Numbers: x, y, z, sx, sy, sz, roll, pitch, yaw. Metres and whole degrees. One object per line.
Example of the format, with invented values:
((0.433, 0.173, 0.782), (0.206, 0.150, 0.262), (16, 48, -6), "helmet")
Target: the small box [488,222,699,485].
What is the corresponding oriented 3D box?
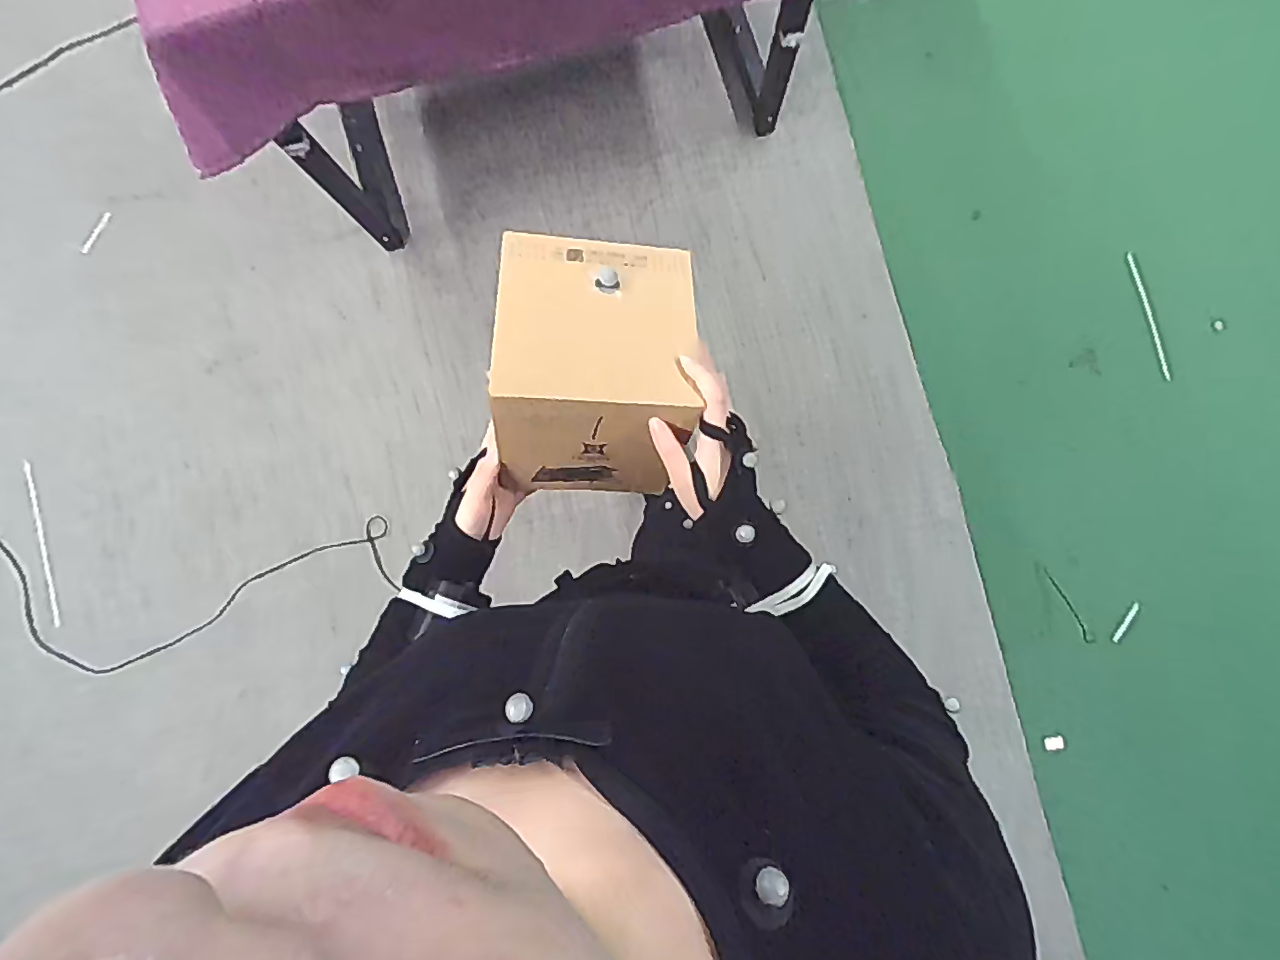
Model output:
((-0.049, -0.108, 0.516), (0.168, 0.179, 0.176), (2, 65, -10), "small box")
